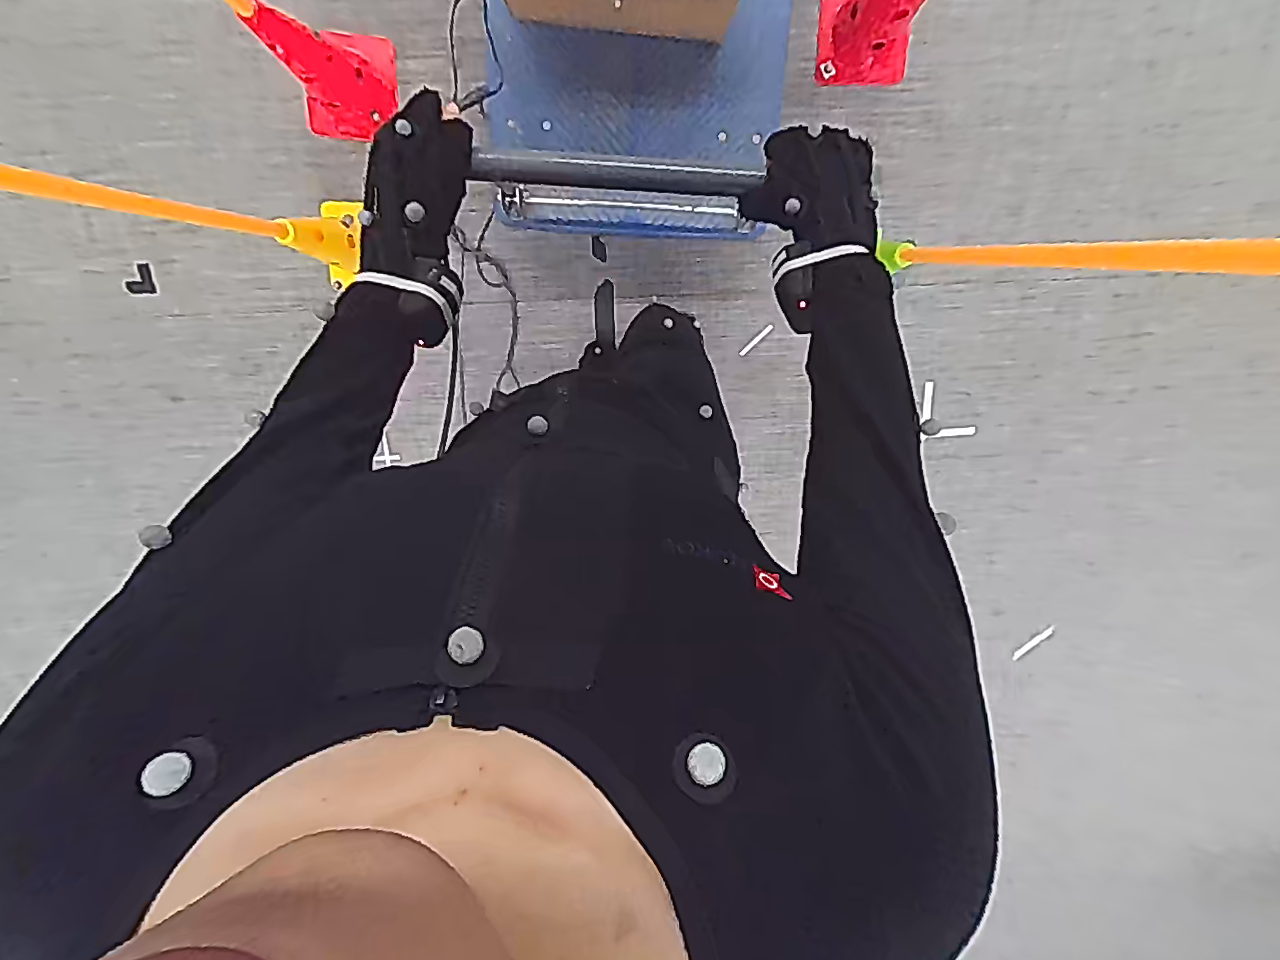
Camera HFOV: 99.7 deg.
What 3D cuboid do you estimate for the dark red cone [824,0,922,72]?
[{"bbox_3d":[0.499,-0.932,0.993,0.201,0.394,0.202,-3,109,-2],"label":"dark red cone"}]

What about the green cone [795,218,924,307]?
[{"bbox_3d":[0.493,-0.477,1.163,0.202,0.368,0.200,1,108,-3],"label":"green cone"}]

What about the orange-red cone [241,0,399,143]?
[{"bbox_3d":[-0.629,-0.817,1.033,0.198,0.360,0.199,5,107,-4],"label":"orange-red cone"}]

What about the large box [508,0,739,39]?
[{"bbox_3d":[-0.026,-0.948,0.847,0.408,0.320,0.320,4,109,-2],"label":"large box"}]
